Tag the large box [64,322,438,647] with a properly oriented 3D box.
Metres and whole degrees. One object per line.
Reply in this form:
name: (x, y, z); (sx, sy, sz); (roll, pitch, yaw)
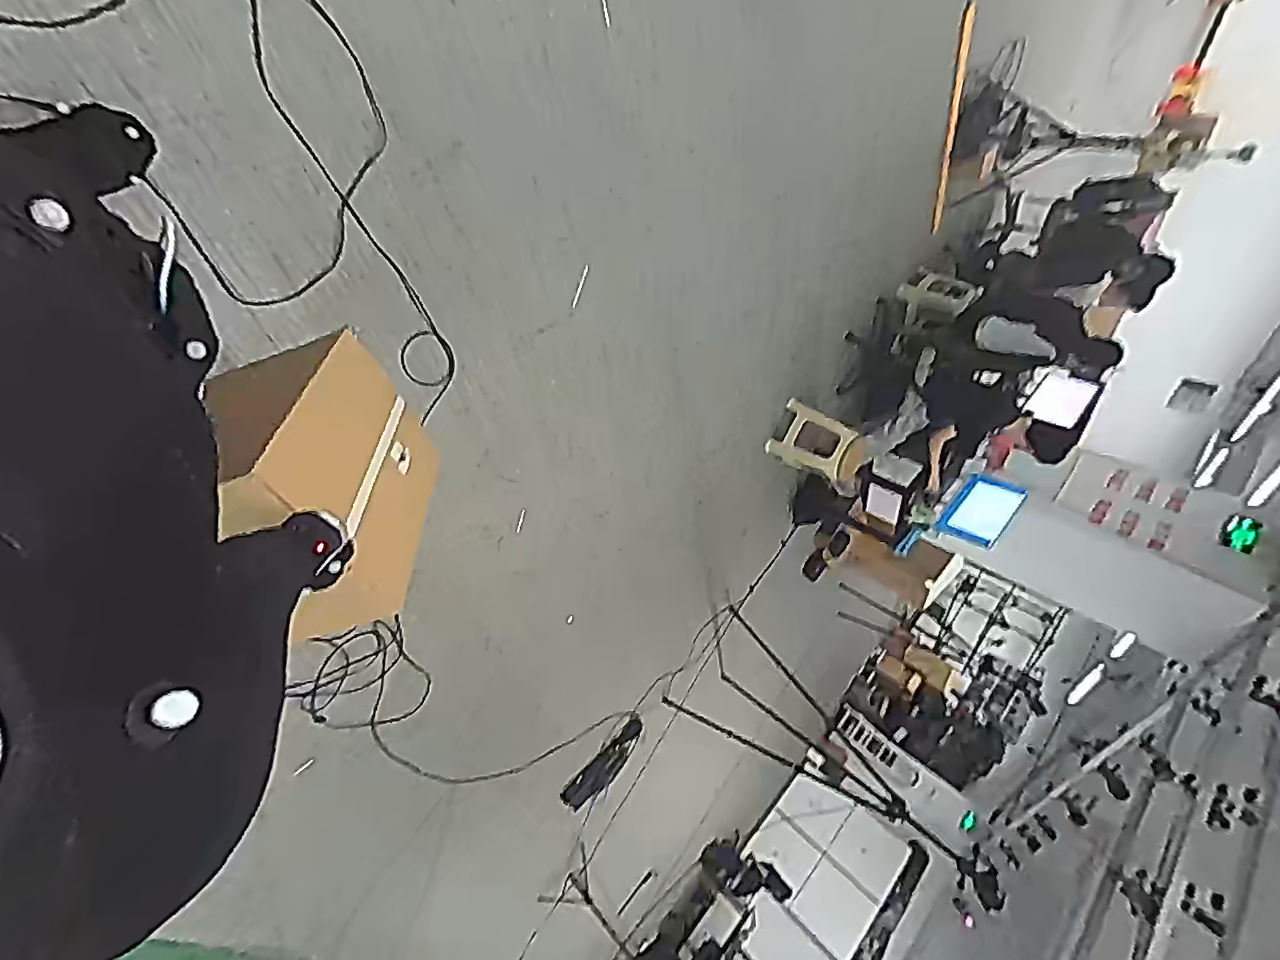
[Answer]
large box: (-0.589, 0.002, 0.920); (0.320, 0.408, 0.320); (-18, 131, 5)
